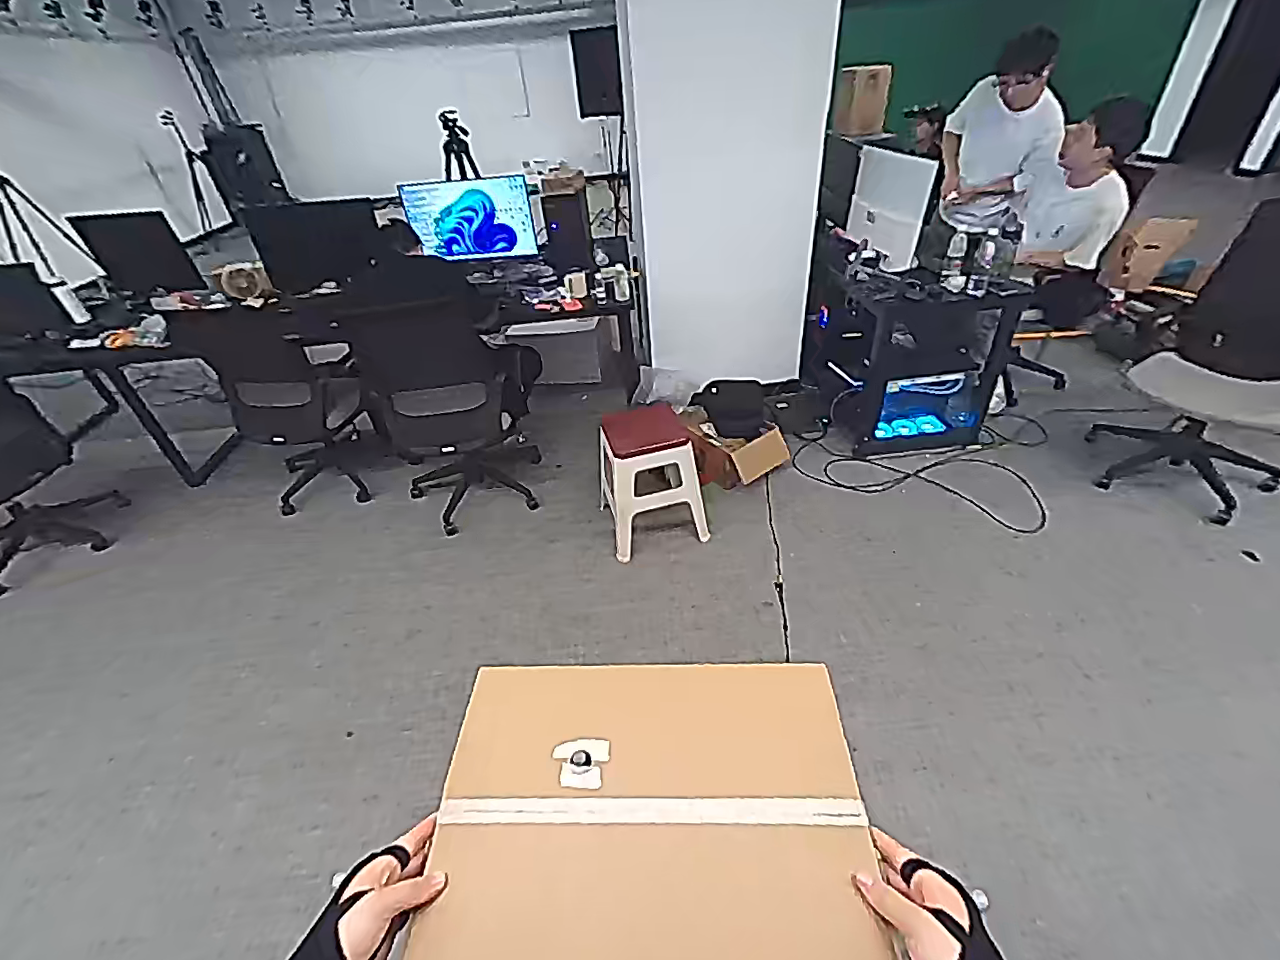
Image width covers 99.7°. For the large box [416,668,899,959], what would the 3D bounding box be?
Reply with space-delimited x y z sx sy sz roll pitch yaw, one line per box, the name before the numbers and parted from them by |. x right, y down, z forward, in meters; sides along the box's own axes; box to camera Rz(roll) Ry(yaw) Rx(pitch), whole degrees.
large box | 0.024 0.442 0.615 0.408 0.320 0.320 -3 39 4
